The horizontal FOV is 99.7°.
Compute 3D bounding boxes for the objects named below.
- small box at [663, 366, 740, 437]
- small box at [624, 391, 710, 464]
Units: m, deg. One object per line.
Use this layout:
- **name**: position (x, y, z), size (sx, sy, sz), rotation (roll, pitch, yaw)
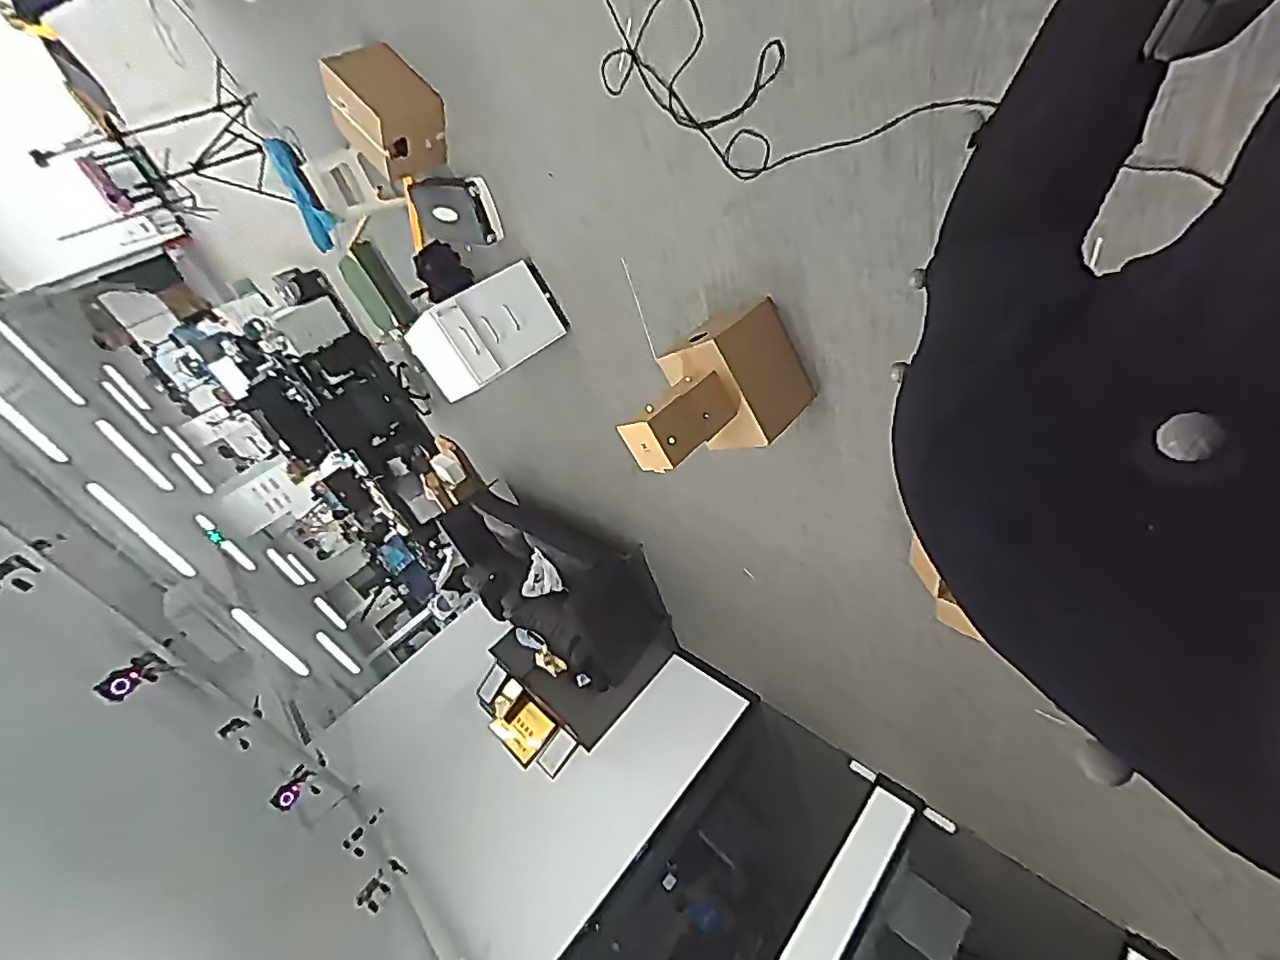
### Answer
- **small box**: position (0.203, -0.256, 1.802), size (0.168, 0.176, 0.179), rotation (-1, 125, 56)
- **small box**: position (0.089, -0.169, 1.724), size (0.168, 0.176, 0.179), rotation (-1, 126, 55)
